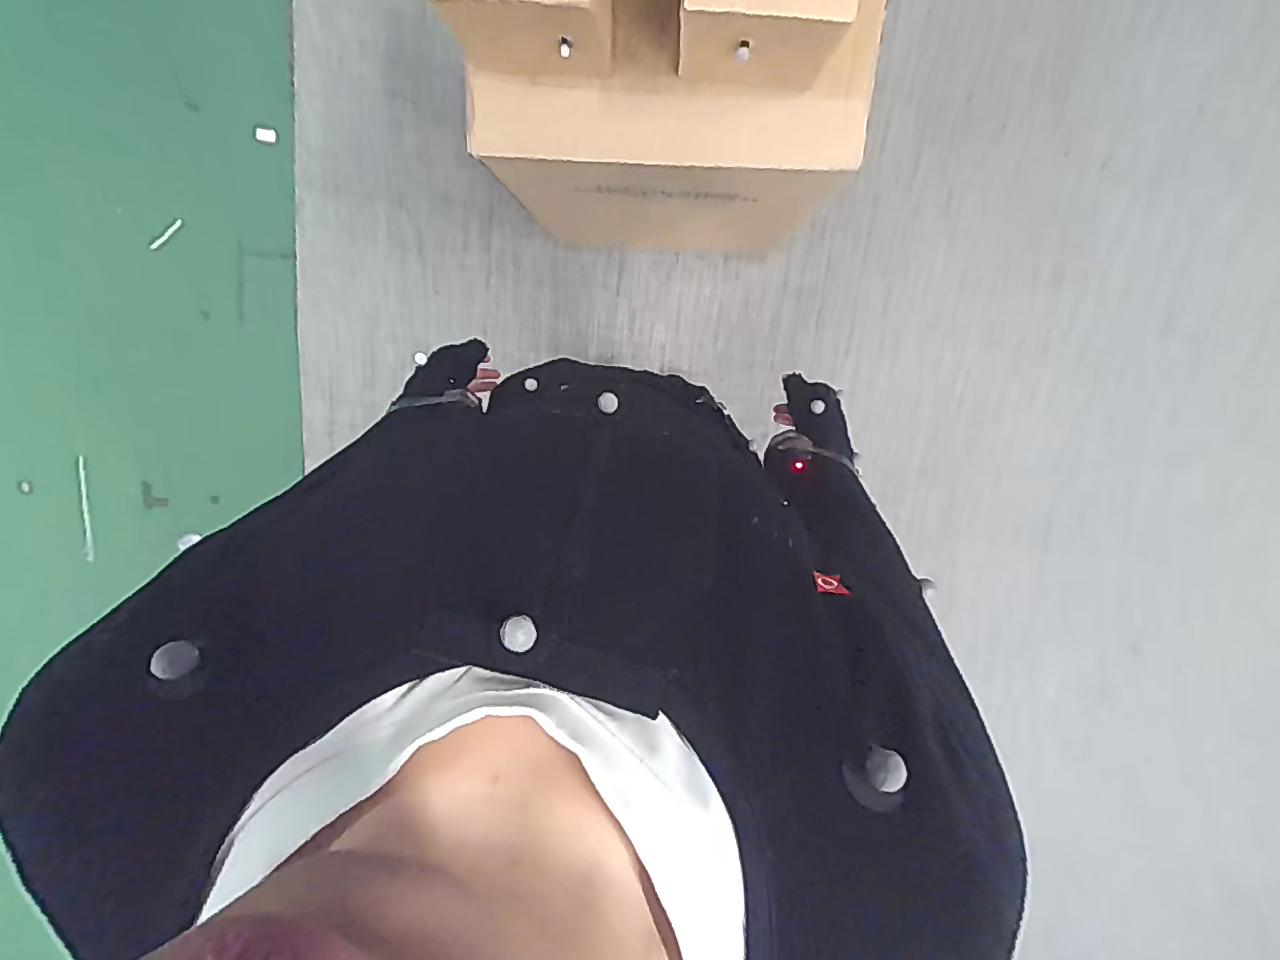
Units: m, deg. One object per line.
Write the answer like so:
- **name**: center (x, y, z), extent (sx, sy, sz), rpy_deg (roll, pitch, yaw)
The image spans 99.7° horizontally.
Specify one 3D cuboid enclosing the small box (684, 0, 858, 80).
- **small box**: center (0.143, -0.571, 0.594), extent (0.179, 0.176, 0.168), rpy_deg (6, 107, 3)
